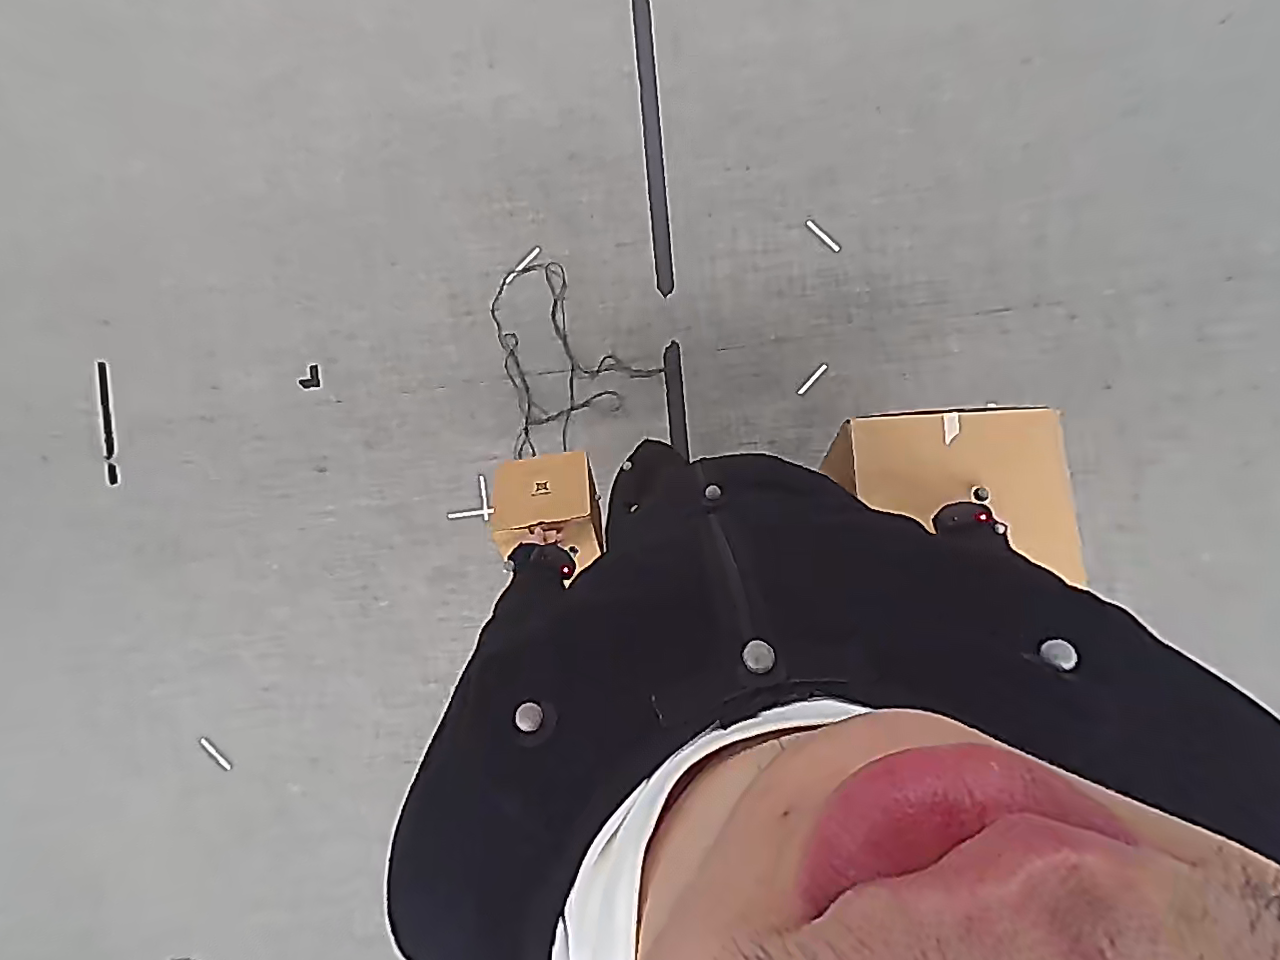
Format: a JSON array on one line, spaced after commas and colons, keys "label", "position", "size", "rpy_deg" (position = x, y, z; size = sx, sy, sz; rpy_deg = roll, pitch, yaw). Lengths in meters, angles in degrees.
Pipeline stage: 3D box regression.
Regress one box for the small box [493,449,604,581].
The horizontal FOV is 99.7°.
[{"label": "small box", "position": [-0.163, 0.071, 1.005], "size": [0.168, 0.179, 0.176], "rpy_deg": [-9, 133, -1]}]
